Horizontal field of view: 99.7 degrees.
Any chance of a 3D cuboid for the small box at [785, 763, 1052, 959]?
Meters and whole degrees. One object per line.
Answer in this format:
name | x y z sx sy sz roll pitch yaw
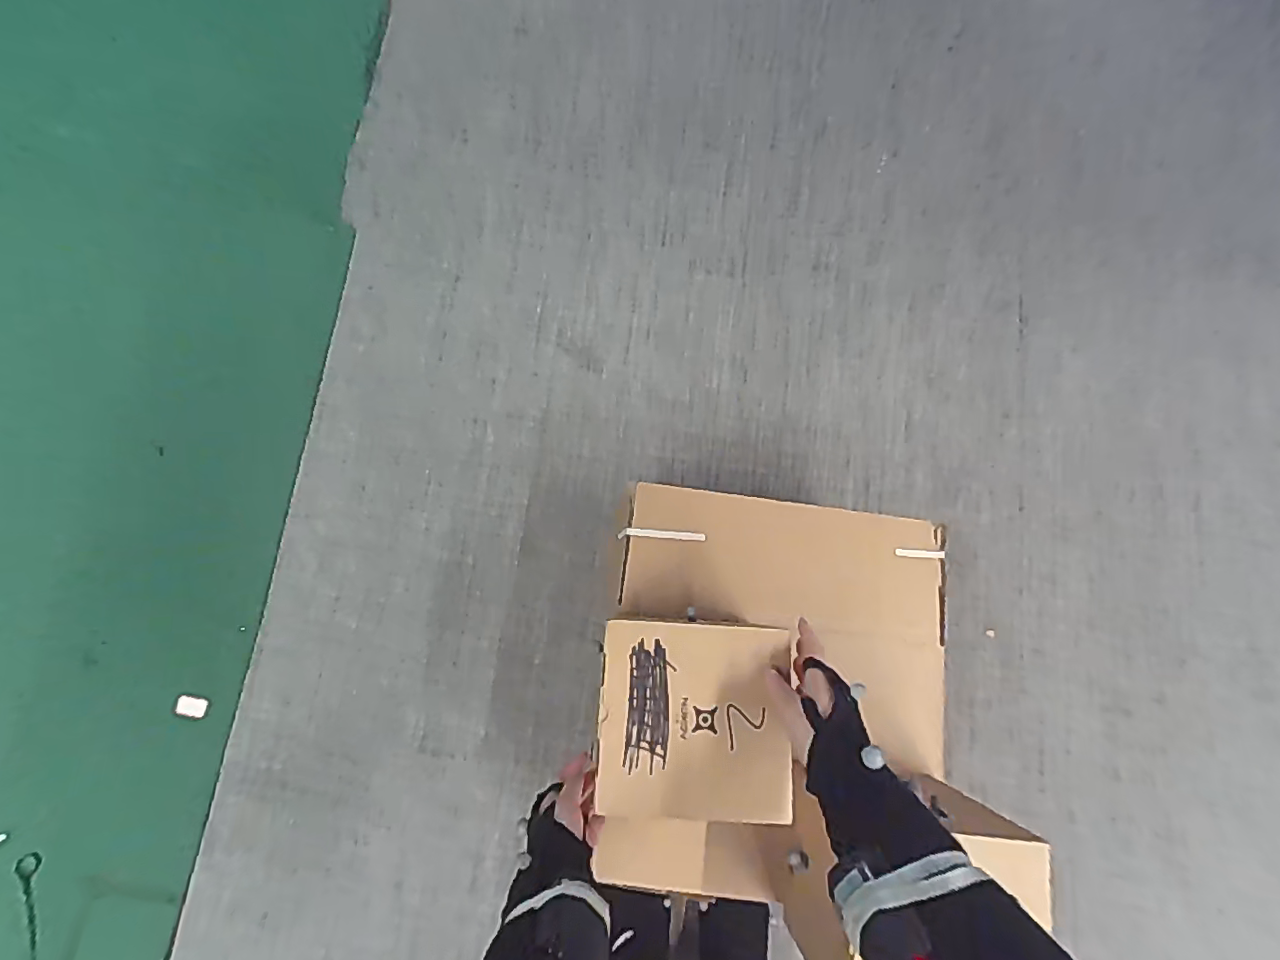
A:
small box | 0.260 0.399 0.534 0.179 0.176 0.168 8 78 -1
